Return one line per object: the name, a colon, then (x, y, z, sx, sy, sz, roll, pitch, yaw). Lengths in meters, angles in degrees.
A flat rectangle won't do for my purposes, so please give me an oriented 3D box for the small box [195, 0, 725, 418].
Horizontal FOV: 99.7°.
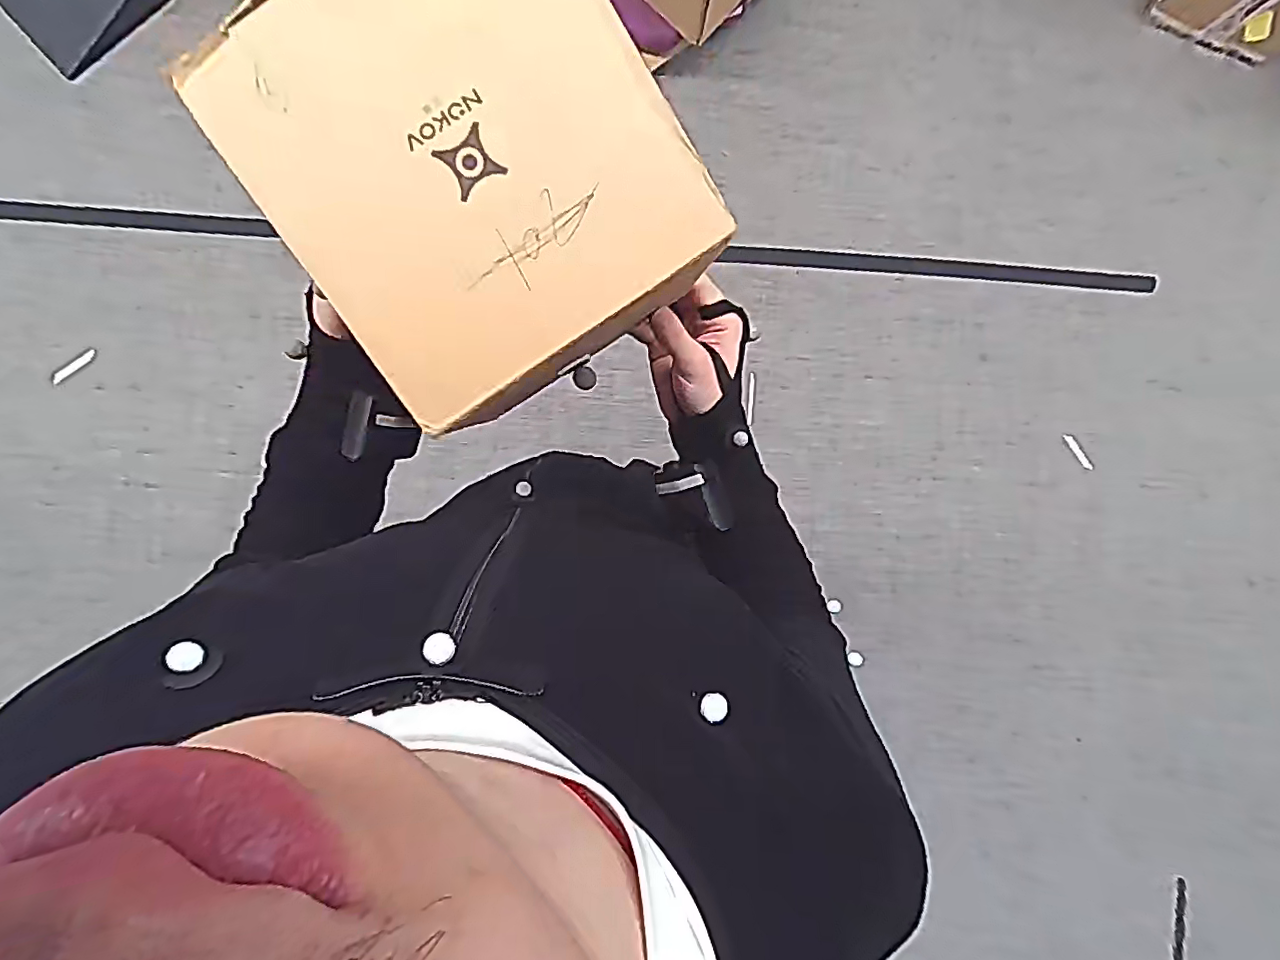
small box: (-0.079, -0.154, 0.315, 0.168, 0.176, 0.179, -34, 101, 3)
